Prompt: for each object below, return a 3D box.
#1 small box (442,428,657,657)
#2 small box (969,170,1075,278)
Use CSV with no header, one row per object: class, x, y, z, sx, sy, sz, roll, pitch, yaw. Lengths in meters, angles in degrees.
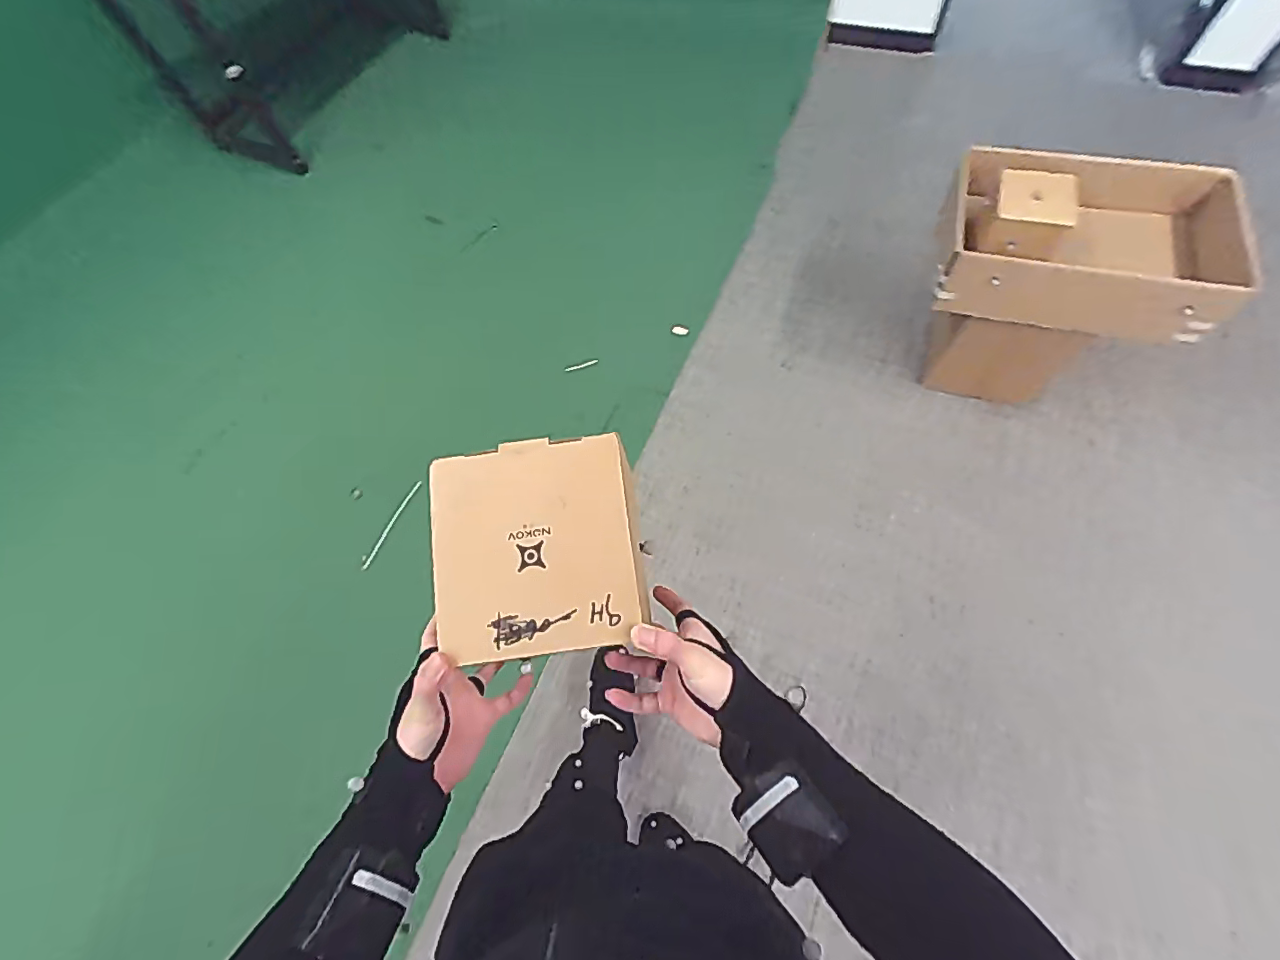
small box,-0.075,0.068,0.513,0.168,0.176,0.179,-7,74,2
small box,0.951,-0.637,1.356,0.168,0.176,0.179,13,67,12
